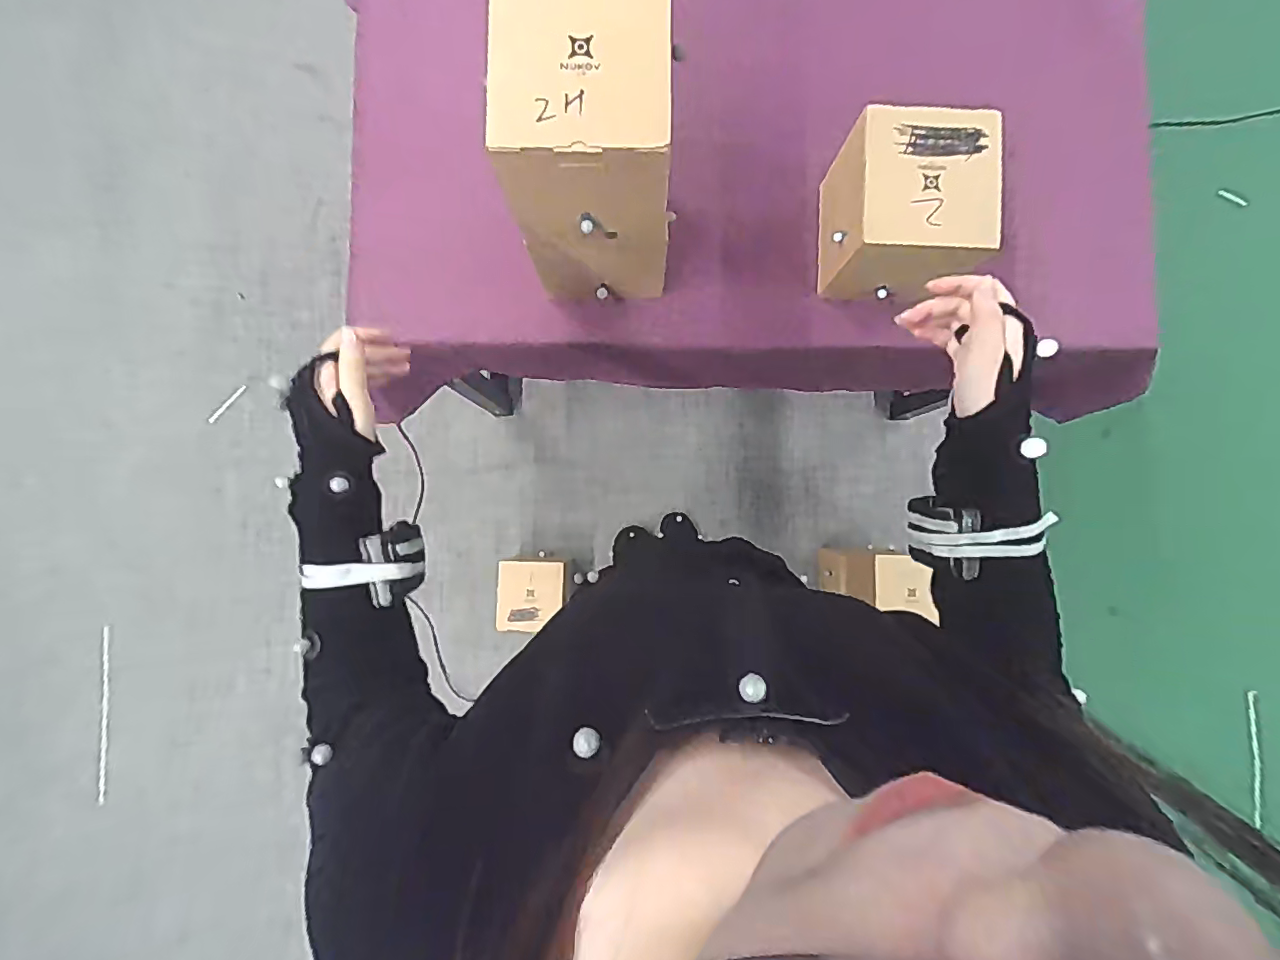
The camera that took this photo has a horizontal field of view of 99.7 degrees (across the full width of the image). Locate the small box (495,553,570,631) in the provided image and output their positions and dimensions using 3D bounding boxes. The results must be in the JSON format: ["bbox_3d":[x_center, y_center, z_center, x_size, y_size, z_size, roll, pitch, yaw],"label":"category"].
[{"bbox_3d":[-0.278,0.290,1.426,0.168,0.176,0.179,2,86,0],"label":"small box"}]

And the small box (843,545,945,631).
[{"bbox_3d":[0.590,0.248,1.272,0.168,0.176,0.179,1,87,-2],"label":"small box"}]

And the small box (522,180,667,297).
[{"bbox_3d":[-0.058,-0.359,0.732,0.179,0.176,0.168,-1,86,-1],"label":"small box"}]

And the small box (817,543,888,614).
[{"bbox_3d":[0.580,0.257,1.434,0.179,0.176,0.168,-2,87,-1],"label":"small box"}]

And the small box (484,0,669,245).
[{"bbox_3d":[-0.057,-0.374,0.567,0.168,0.176,0.179,0,87,0],"label":"small box"}]
